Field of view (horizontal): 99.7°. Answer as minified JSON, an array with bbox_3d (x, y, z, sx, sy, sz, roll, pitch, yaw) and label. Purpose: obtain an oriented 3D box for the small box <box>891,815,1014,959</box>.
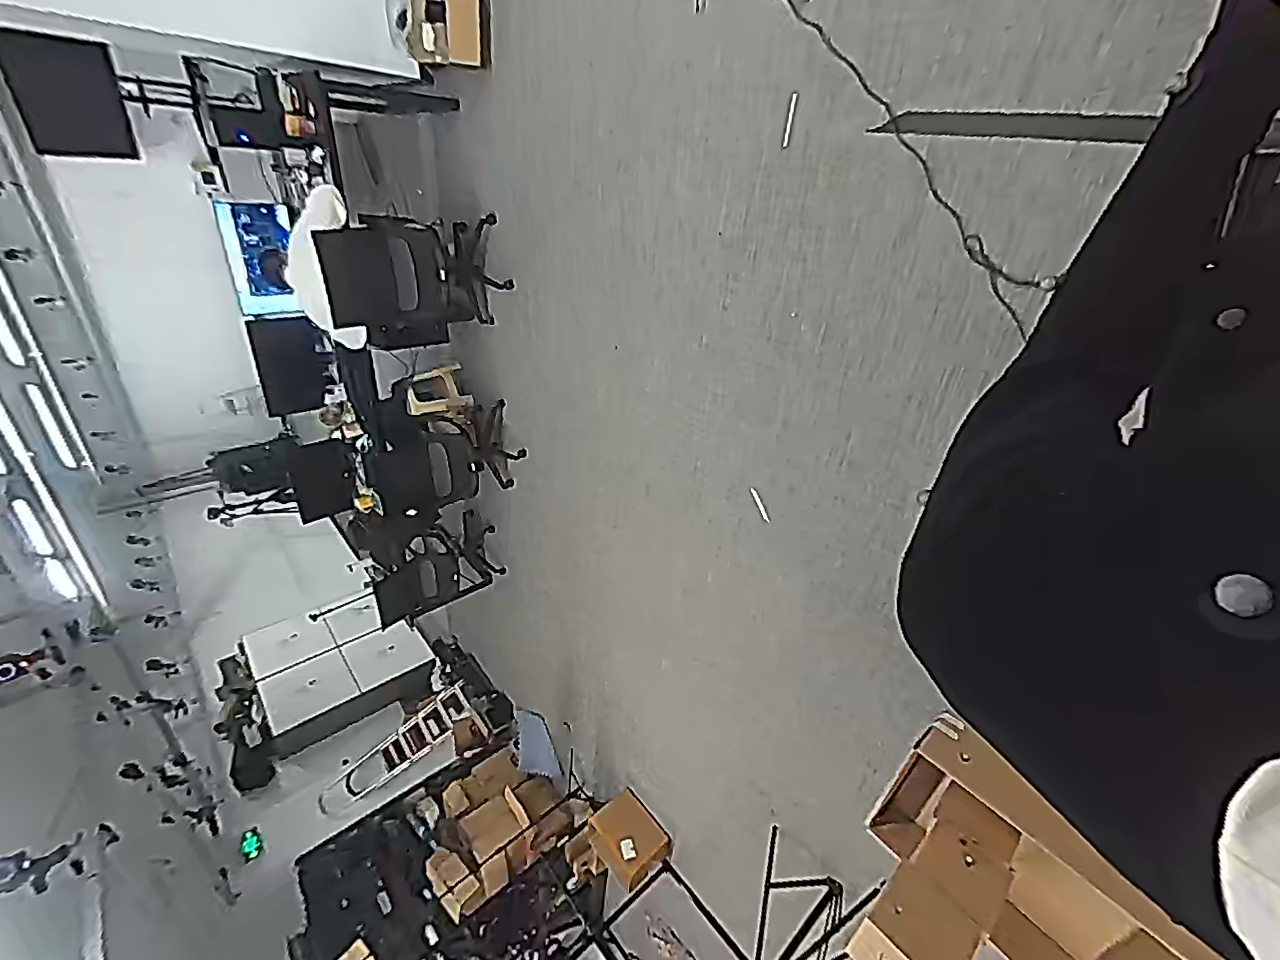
[{"bbox_3d":[0.712,0.920,1.230,0.168,0.176,0.179,32,130,37],"label":"small box"}]
